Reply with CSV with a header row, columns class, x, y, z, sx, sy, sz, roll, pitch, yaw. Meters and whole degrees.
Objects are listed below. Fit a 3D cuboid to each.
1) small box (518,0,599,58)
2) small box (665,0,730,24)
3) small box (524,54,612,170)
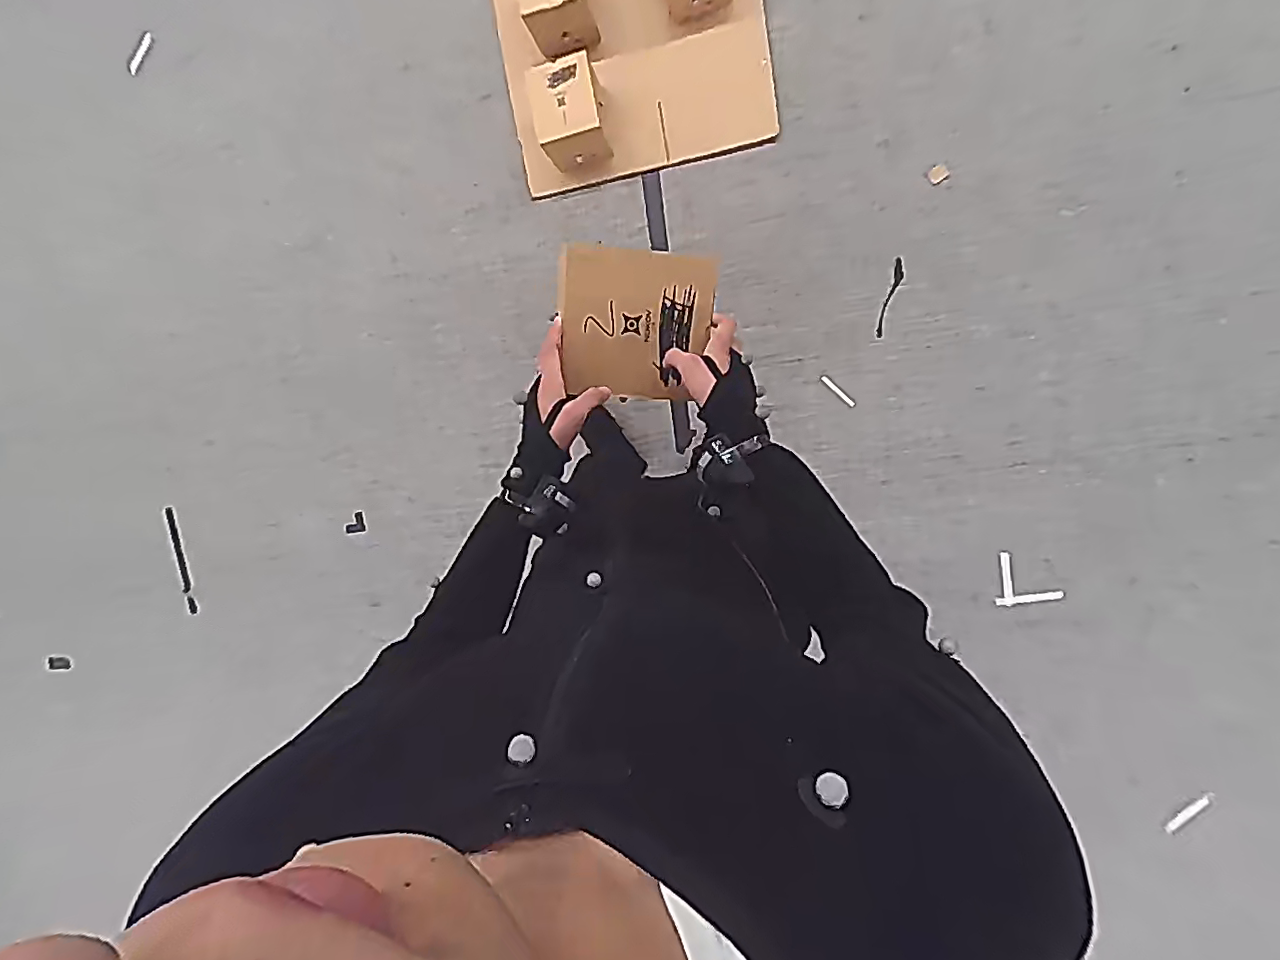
class,x,y,z,sx,sy,sz,roll,pitch,yaw
small box,-0.211,-1.225,1.362,0.168,0.176,0.179,-9,98,11
small box,0.125,-1.273,1.307,0.168,0.176,0.179,-12,97,11
small box,-0.181,-0.944,1.405,0.168,0.176,0.179,-10,99,11
